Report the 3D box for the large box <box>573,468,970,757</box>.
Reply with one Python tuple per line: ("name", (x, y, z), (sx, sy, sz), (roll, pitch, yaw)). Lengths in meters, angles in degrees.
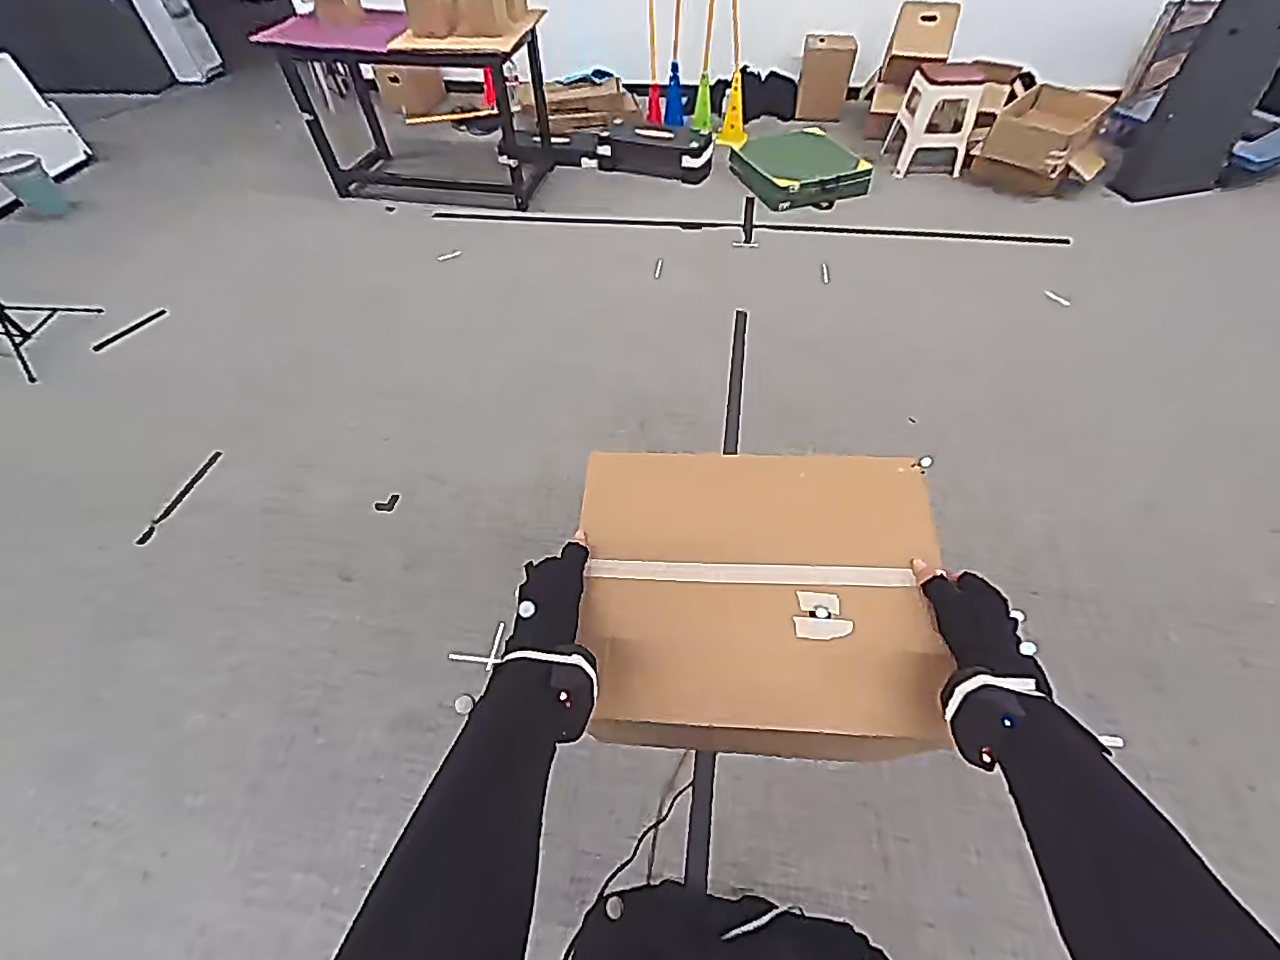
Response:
("large box", (0.141, 0.193, 0.744), (0.408, 0.320, 0.320), (1, 61, 5))
